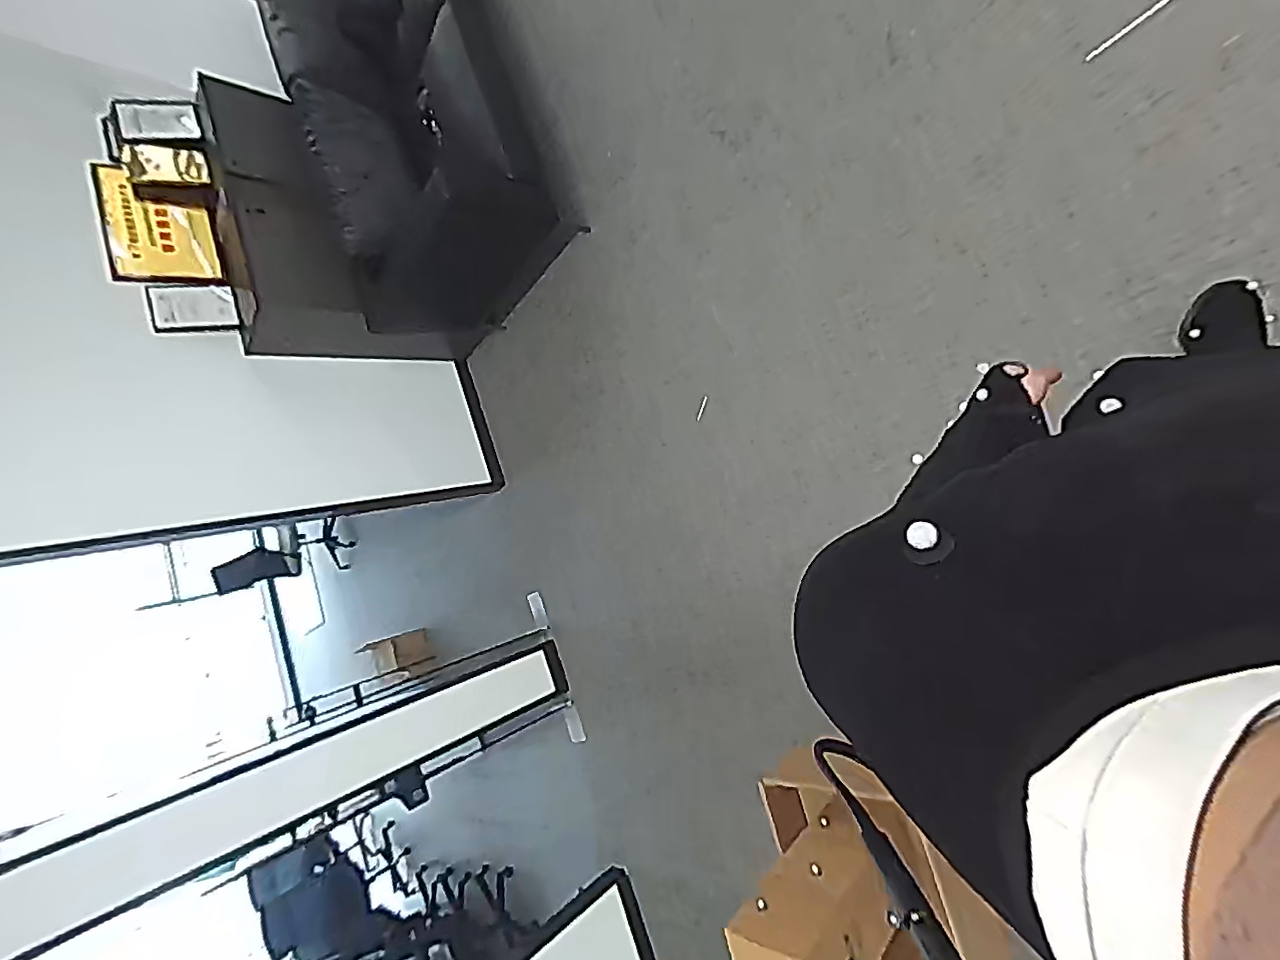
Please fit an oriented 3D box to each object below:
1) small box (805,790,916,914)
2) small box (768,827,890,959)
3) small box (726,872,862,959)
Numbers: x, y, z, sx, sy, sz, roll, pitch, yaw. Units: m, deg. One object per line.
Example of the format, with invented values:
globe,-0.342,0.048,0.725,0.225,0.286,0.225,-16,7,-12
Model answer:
small box,0.527,0.862,1.275,0.179,0.176,0.168,-22,82,45
small box,0.411,0.882,1.160,0.179,0.176,0.168,-23,81,45
small box,0.300,0.902,1.042,0.179,0.176,0.168,-21,83,44
